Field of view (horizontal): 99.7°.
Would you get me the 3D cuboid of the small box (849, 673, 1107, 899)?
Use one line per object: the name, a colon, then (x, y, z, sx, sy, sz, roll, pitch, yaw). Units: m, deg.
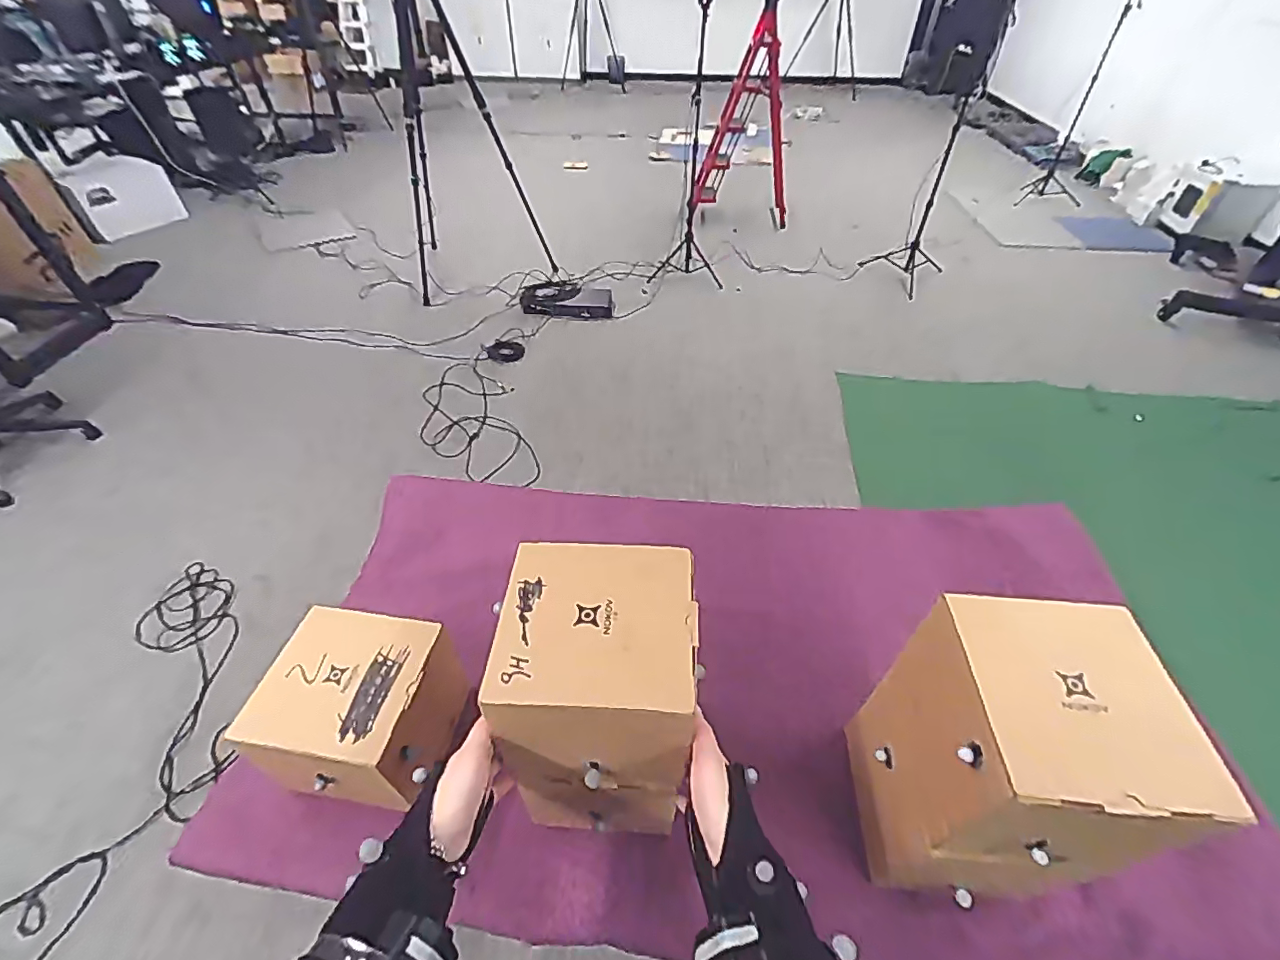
small box: (0.352, 0.345, 0.612, 0.168, 0.176, 0.179, 4, 46, 3)

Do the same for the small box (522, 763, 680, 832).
small box: (-0.038, 0.296, 0.653, 0.168, 0.176, 0.179, 3, 44, 2)

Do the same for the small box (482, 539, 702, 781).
small box: (-0.037, 0.180, 0.536, 0.179, 0.176, 0.168, 3, 42, 1)

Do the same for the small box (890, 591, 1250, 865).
small box: (0.355, 0.227, 0.500, 0.168, 0.176, 0.179, 3, 45, 3)
